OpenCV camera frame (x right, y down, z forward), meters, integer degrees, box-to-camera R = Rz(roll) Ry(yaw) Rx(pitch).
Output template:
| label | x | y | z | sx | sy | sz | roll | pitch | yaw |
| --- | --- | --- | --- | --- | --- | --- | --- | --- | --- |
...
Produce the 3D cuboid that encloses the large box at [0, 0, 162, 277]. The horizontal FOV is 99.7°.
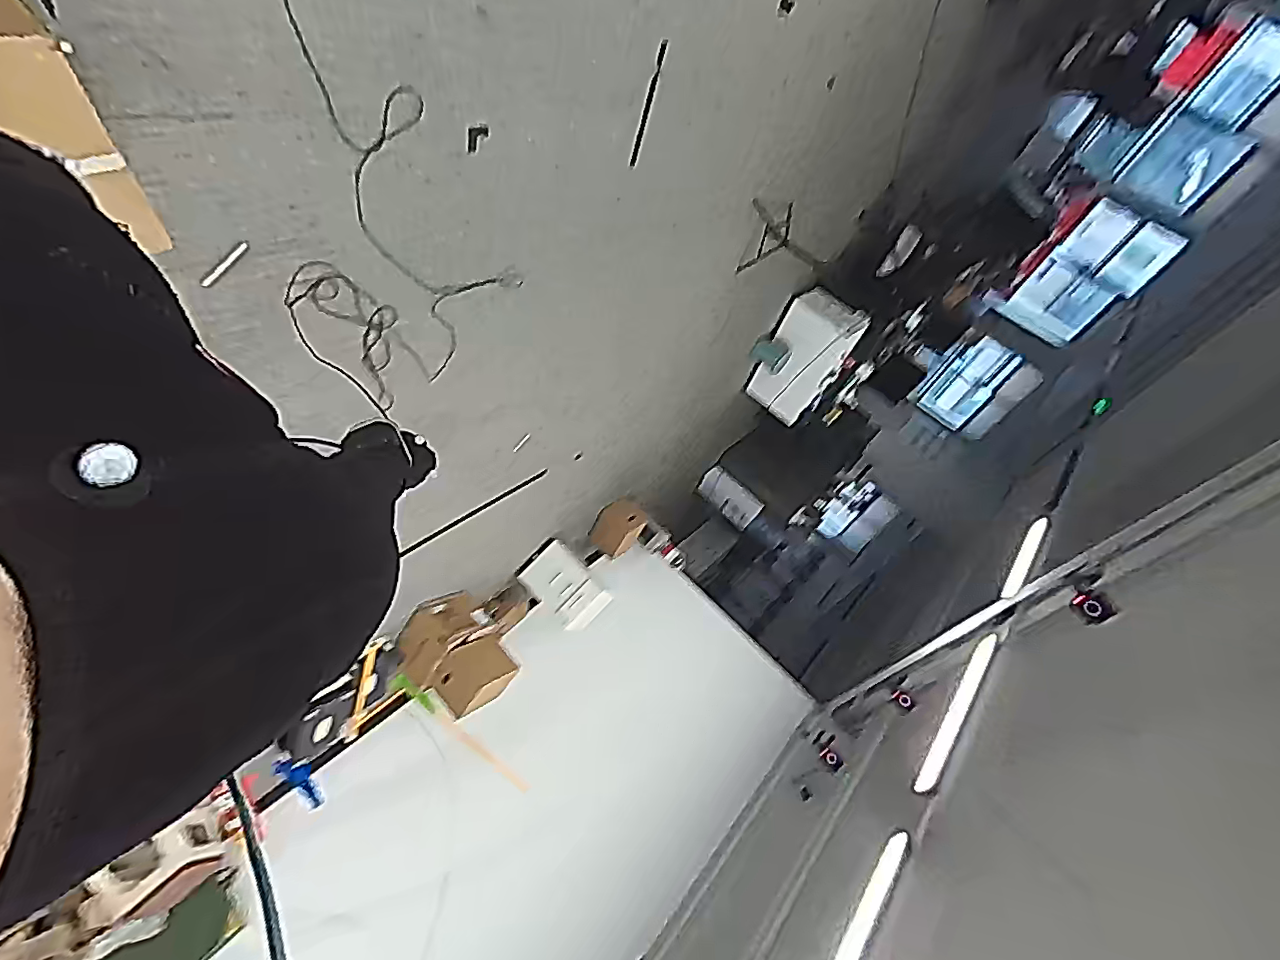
| label | x | y | z | sx | sy | sz | roll | pitch | yaw |
| --- | --- | --- | --- | --- | --- | --- | --- | --- | --- |
| large box | -1.052 | -0.509 | 0.772 | 0.408 | 0.320 | 0.320 | -38 | 160 | -31 |
